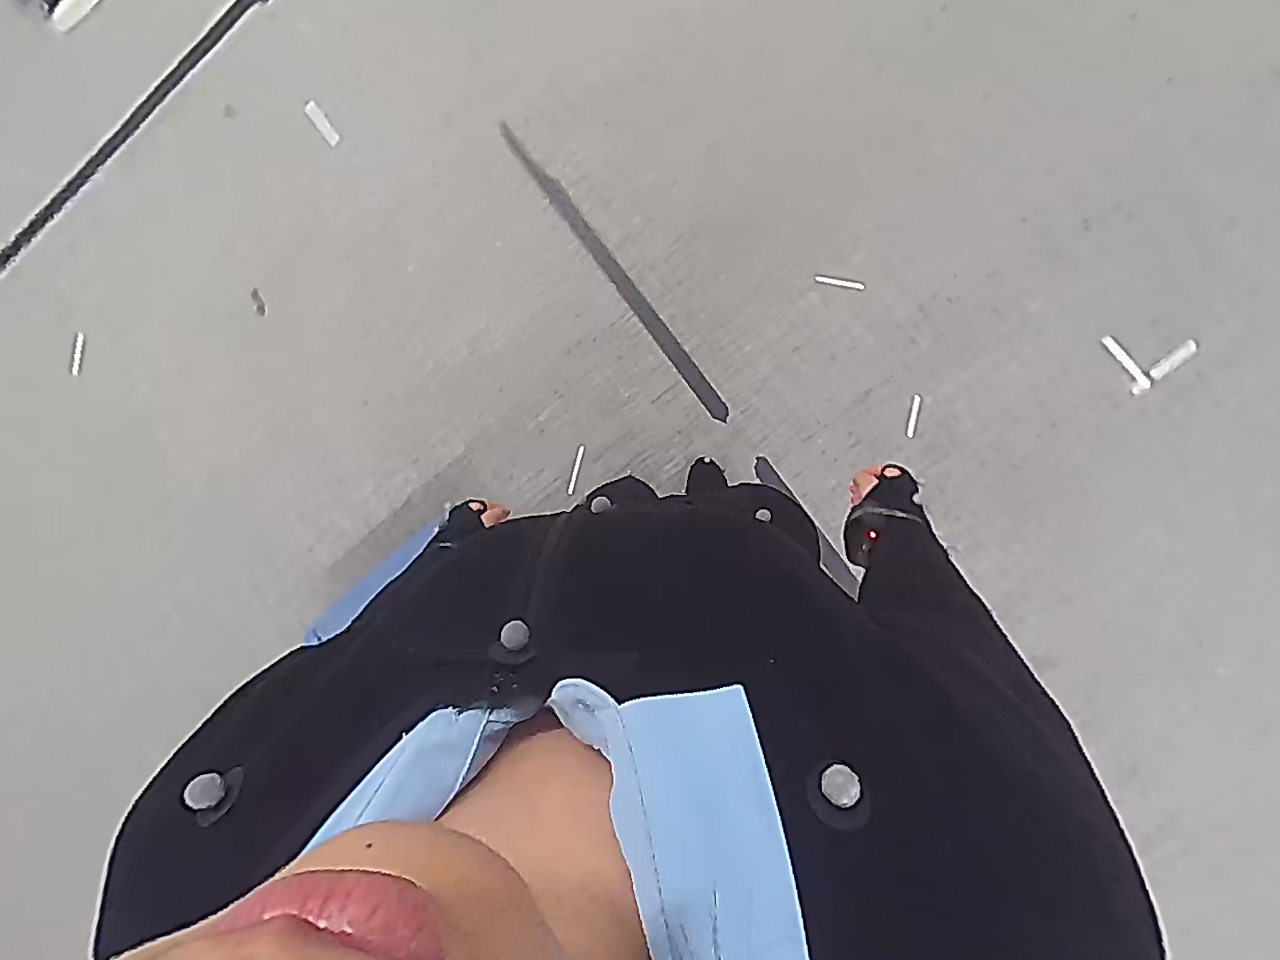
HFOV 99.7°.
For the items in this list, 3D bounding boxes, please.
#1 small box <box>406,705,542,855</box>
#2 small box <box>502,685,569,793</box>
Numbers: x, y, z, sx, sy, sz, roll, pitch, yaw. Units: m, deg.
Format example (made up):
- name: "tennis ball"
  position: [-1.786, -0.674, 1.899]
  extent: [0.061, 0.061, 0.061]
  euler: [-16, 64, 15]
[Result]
- name: "small box"
  position: [-0.333, 0.610, 1.121]
  extent: [0.179, 0.176, 0.168]
  euler: [-42, 86, 6]
- name: "small box"
  position: [-0.295, 0.626, 1.282]
  extent: [0.179, 0.176, 0.168]
  euler: [-43, 86, 6]
